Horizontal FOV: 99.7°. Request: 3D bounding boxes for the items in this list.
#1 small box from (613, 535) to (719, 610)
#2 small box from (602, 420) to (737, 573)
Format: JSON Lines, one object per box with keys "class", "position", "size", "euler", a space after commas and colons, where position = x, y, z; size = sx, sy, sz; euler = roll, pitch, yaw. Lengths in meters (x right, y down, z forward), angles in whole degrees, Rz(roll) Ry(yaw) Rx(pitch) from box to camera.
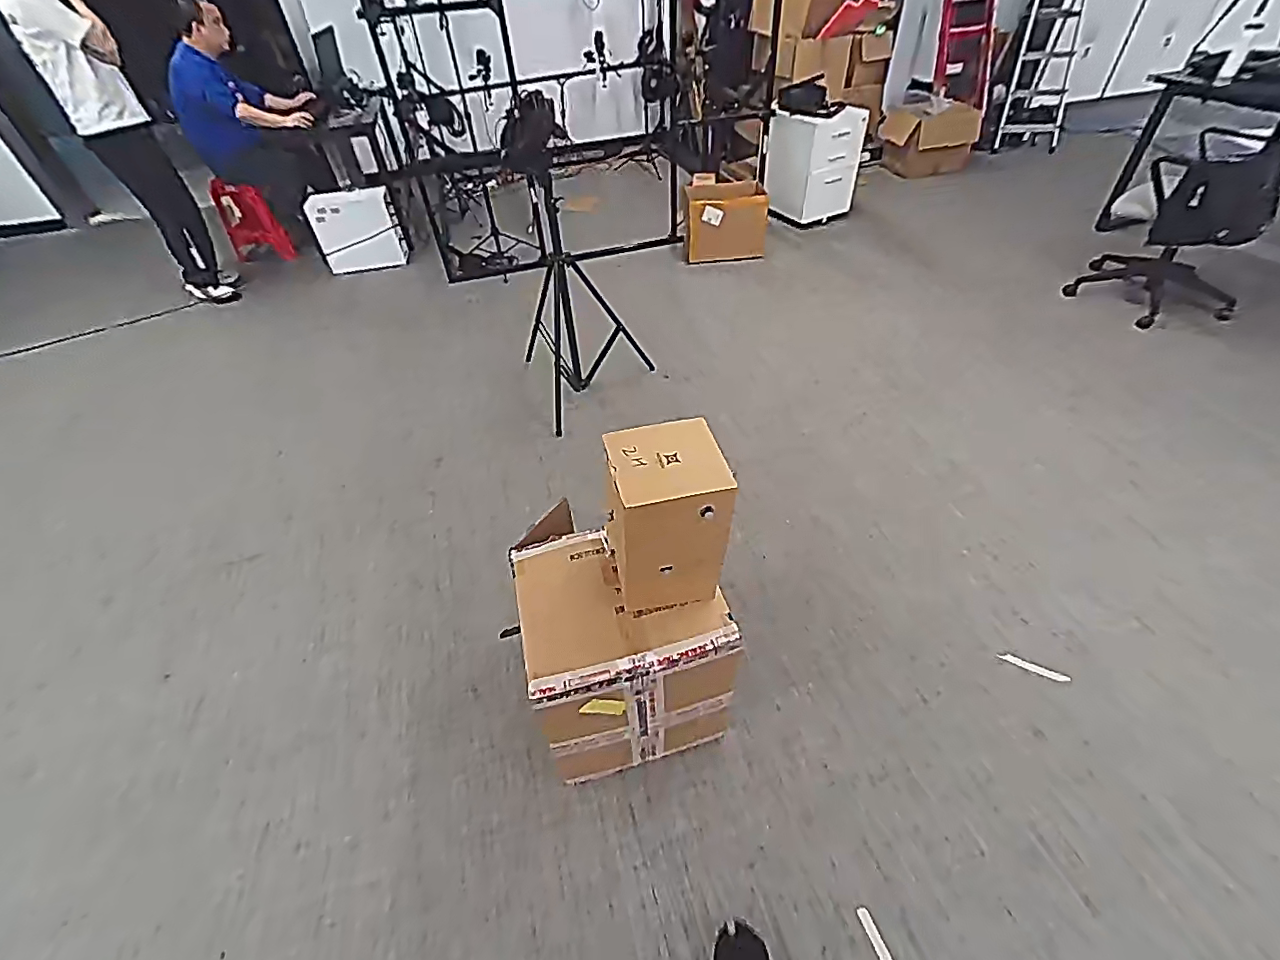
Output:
{"class": "small box", "position": [0.042, 0.125, 1.017], "size": [0.179, 0.176, 0.168], "euler": [-8, 46, -7]}
{"class": "small box", "position": [0.040, 0.028, 0.881], "size": [0.179, 0.176, 0.168], "euler": [-11, 46, -9]}
